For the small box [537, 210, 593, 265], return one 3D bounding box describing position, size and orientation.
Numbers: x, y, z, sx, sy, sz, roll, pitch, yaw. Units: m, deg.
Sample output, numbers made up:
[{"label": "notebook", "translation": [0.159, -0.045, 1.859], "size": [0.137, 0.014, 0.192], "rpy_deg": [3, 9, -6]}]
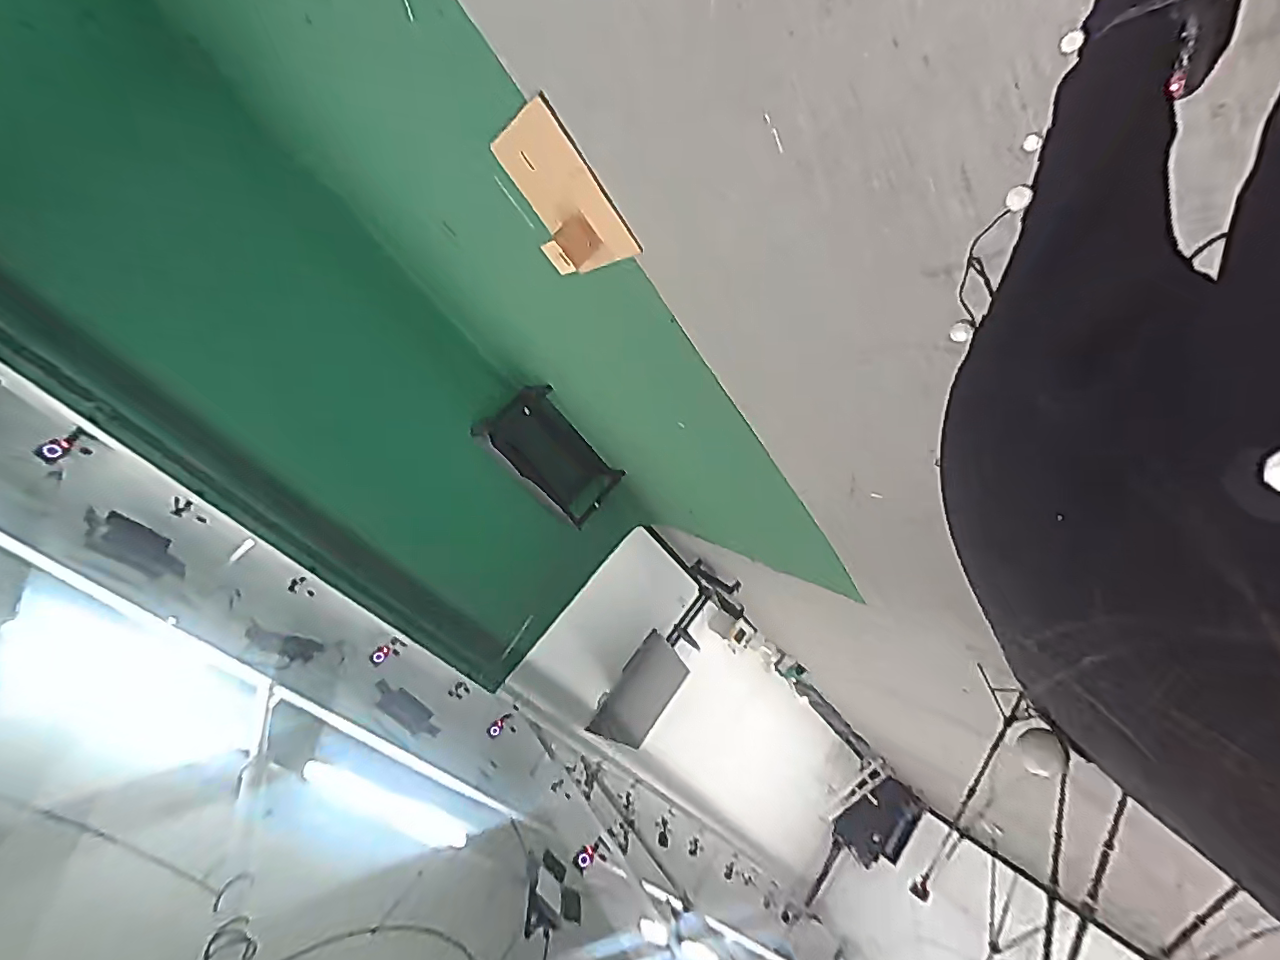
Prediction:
[{"label": "small box", "translation": [-0.346, -1.145, 2.549], "size": [0.168, 0.176, 0.179], "rpy_deg": [48, 164, -32]}]
